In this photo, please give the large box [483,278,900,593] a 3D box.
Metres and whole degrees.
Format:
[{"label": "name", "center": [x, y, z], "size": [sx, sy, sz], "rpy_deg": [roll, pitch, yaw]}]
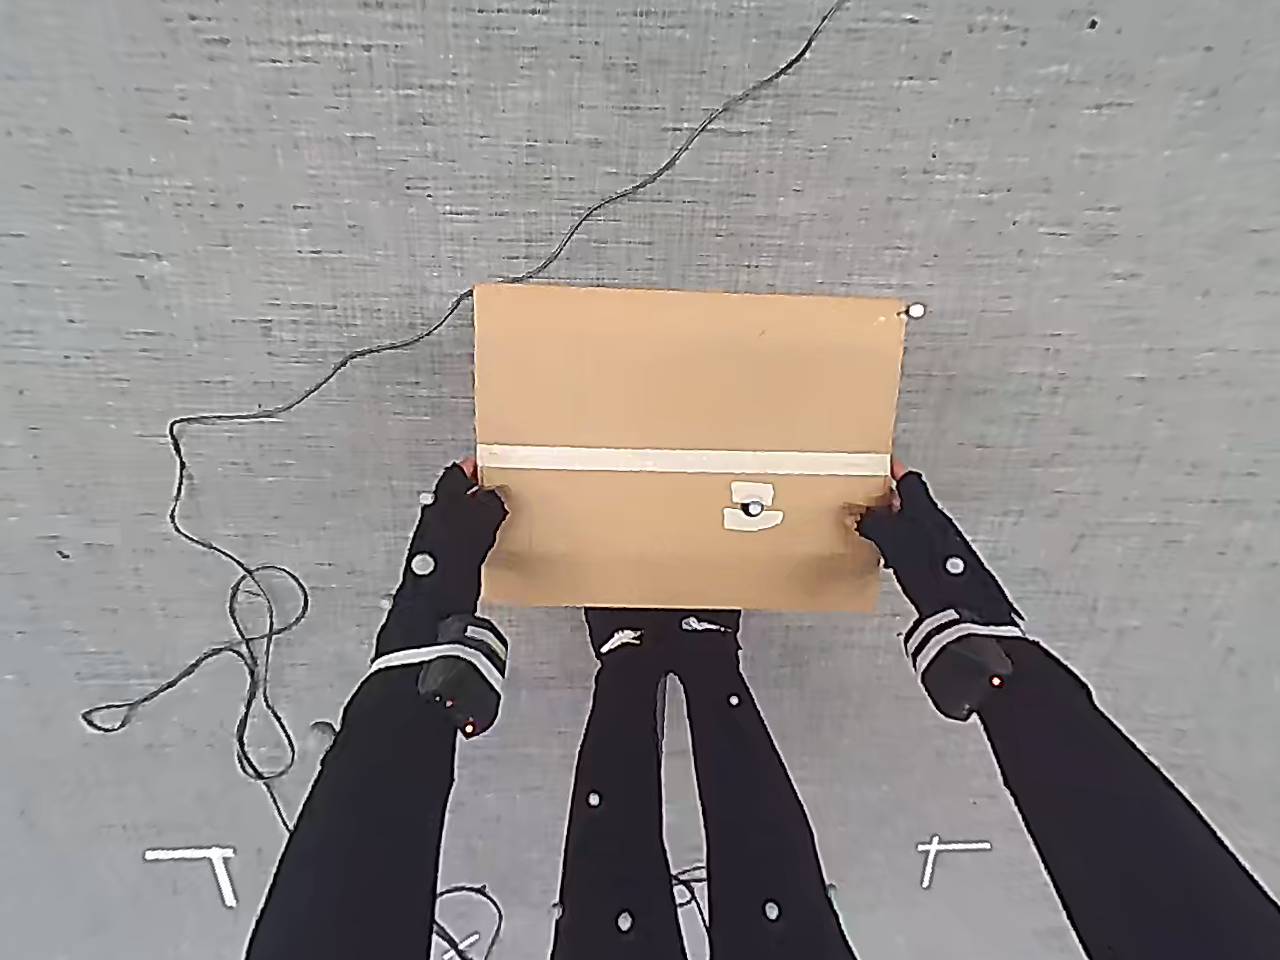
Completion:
[{"label": "large box", "center": [0.043, -0.060, 0.681], "size": [0.408, 0.320, 0.320], "rpy_deg": [1, 101, -2]}]
